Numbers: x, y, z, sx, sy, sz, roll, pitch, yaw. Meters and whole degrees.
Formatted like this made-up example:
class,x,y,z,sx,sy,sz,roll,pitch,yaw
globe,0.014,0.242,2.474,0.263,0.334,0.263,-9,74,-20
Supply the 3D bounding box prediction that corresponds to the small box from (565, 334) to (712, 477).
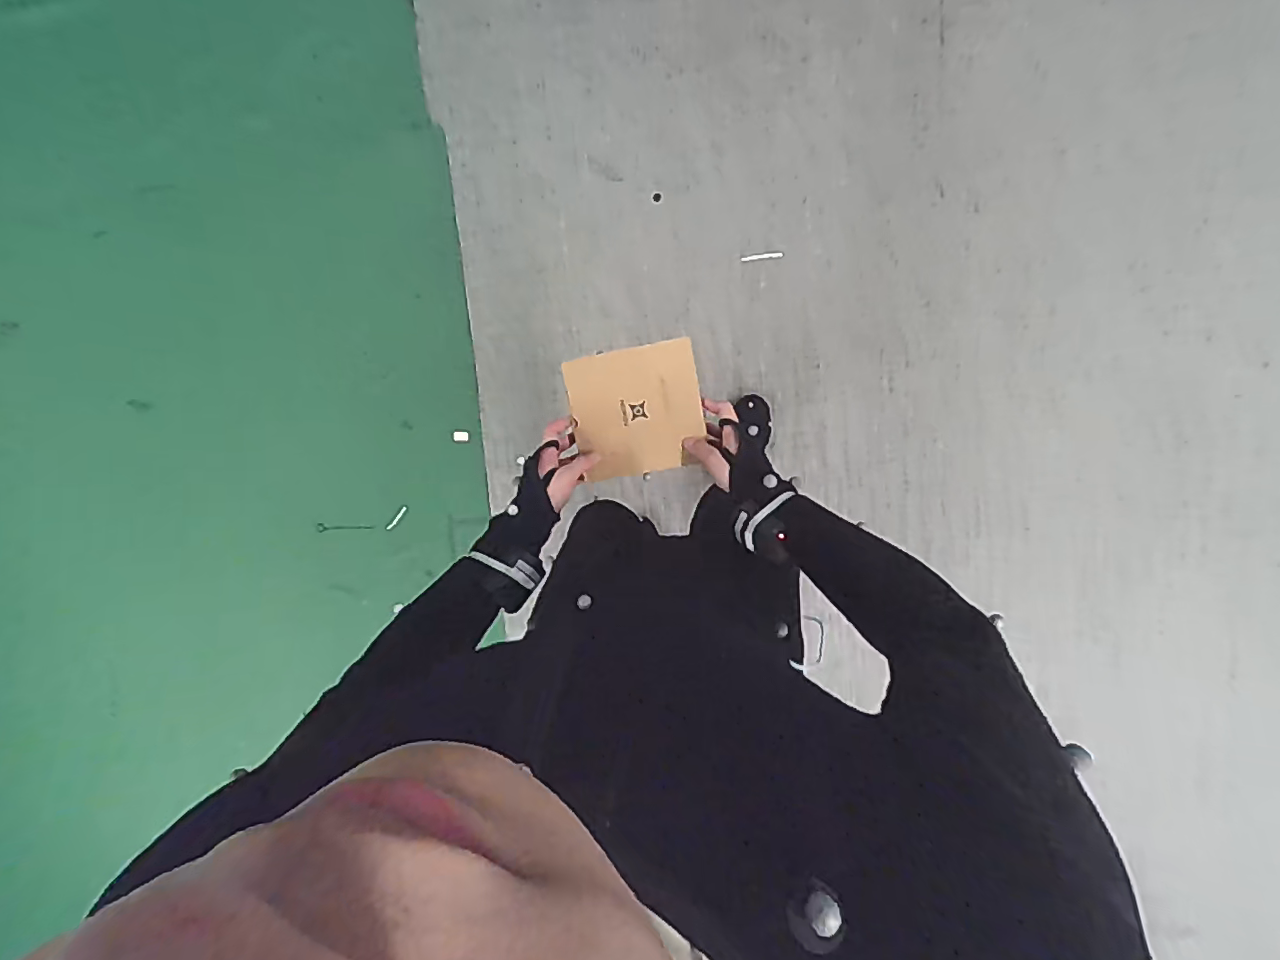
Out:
class,x,y,z,sx,sy,sz,roll,pitch,yaw
small box,0.006,-0.103,0.789,0.179,0.176,0.168,-10,96,6
